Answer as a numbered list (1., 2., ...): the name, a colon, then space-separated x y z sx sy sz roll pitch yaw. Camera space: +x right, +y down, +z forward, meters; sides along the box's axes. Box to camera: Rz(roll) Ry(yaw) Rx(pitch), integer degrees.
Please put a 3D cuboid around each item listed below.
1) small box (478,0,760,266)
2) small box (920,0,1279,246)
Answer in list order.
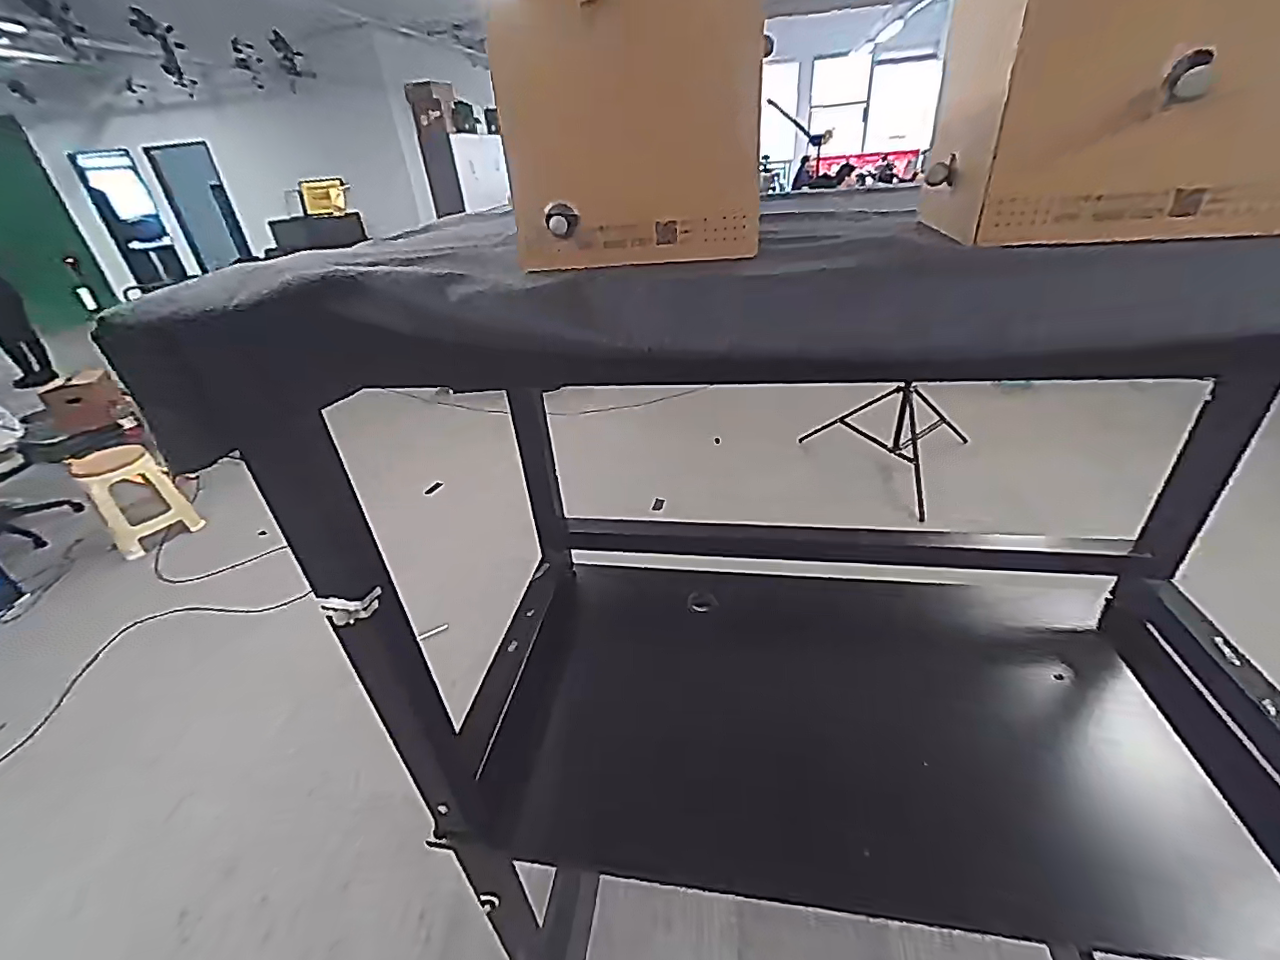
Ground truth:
1. small box: 0.002 -0.261 0.409 0.168 0.176 0.179 -1 29 7
2. small box: 0.298 -0.250 0.348 0.168 0.176 0.179 3 32 13
